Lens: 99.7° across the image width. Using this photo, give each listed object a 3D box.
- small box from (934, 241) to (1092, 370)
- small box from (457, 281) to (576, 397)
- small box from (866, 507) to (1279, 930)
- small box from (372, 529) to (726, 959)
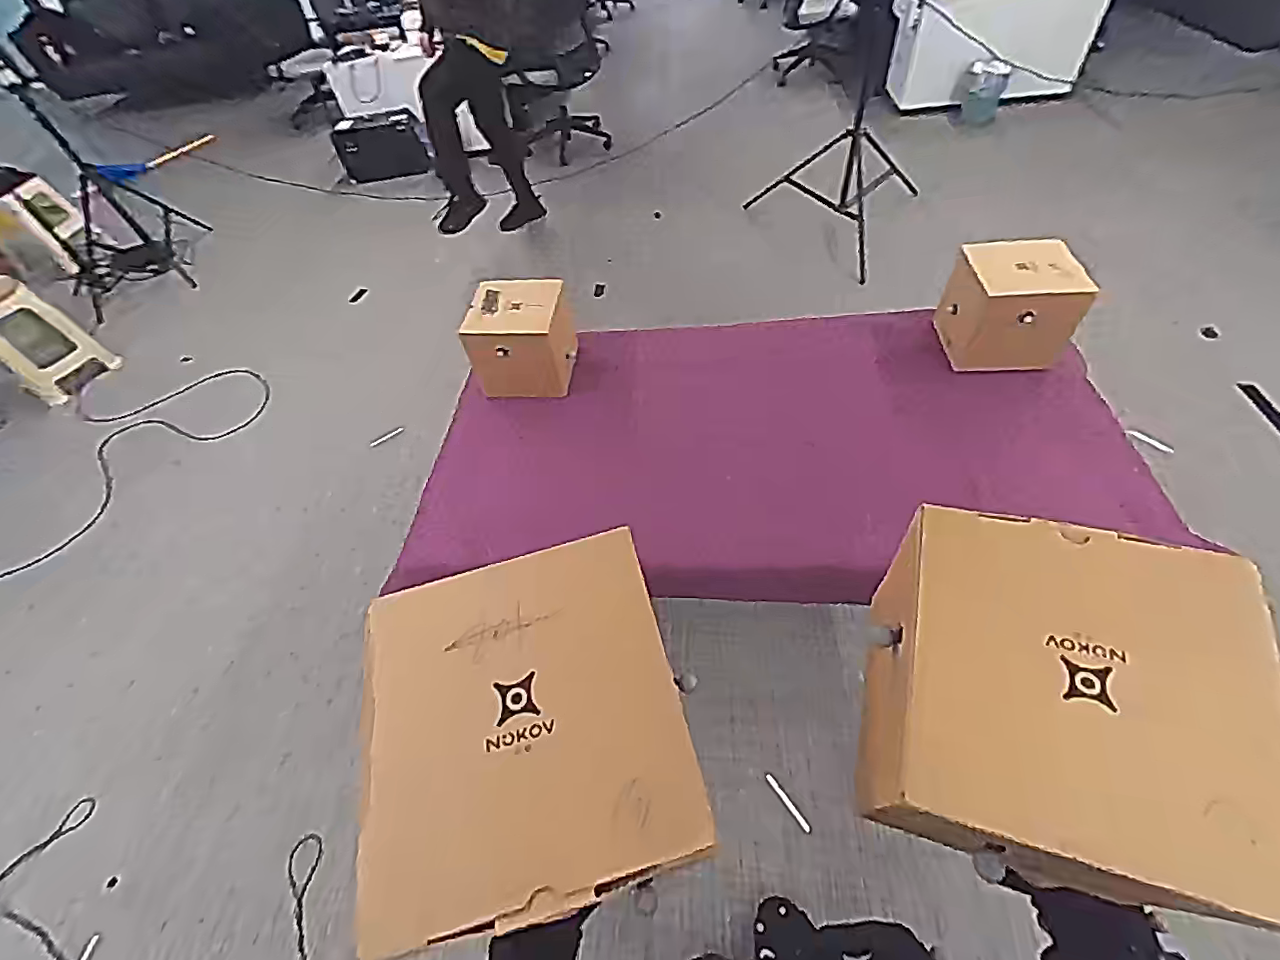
[{"bbox_3d":[0.676,-0.321,1.013,0.179,0.176,0.168,0,53,6],"label":"small box"},{"bbox_3d":[-0.242,-0.283,1.103,0.179,0.176,0.168,2,54,7],"label":"small box"},{"bbox_3d":[0.248,0.145,0.344,0.168,0.176,0.179,10,58,18],"label":"small box"},{"bbox_3d":[-0.050,0.164,0.350,0.168,0.176,0.179,-15,54,-5],"label":"small box"}]
